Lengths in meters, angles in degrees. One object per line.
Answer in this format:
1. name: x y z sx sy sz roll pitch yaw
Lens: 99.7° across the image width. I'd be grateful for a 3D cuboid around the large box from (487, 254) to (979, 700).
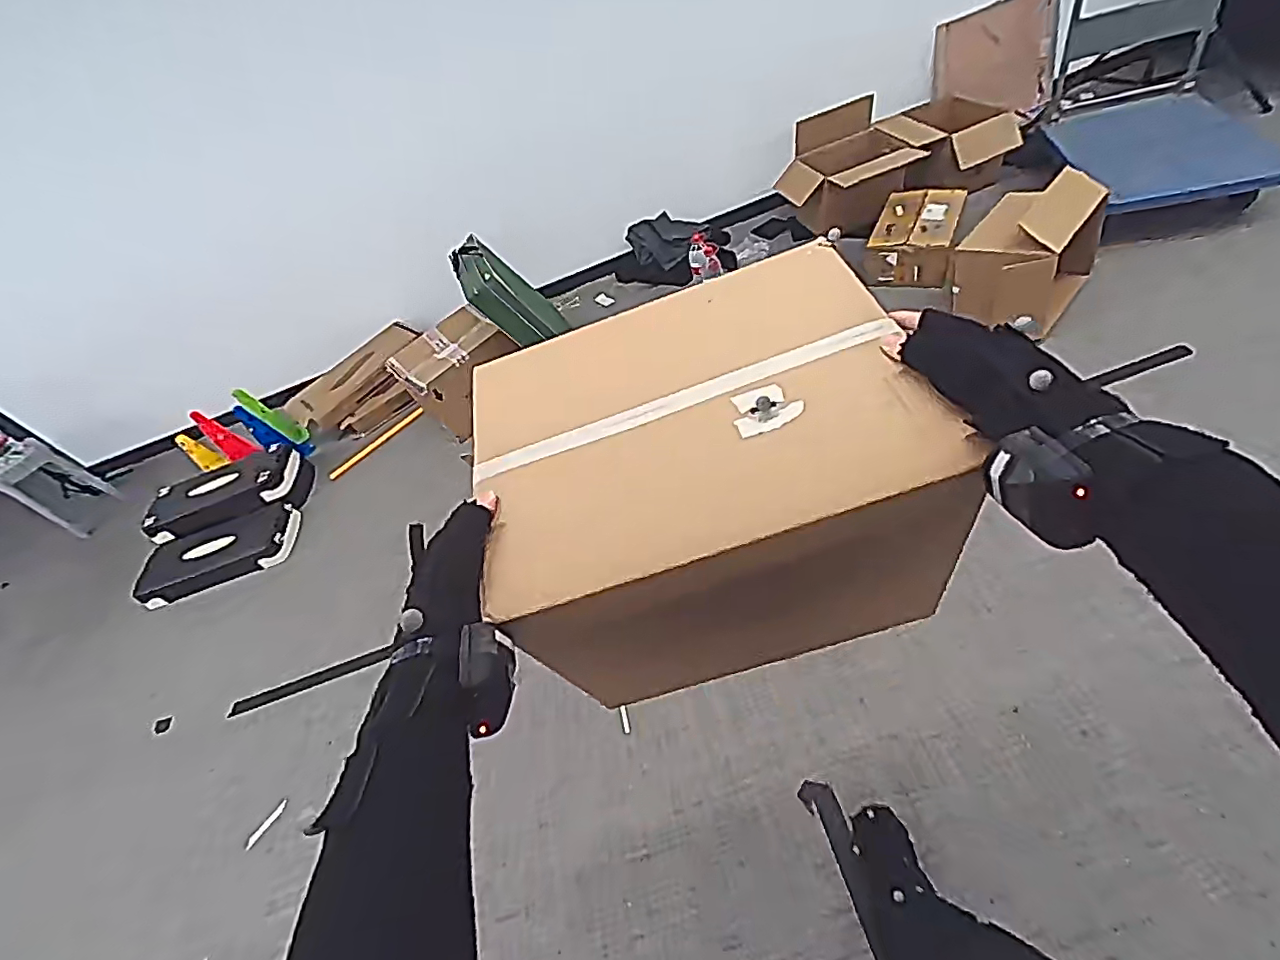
1. large box: 0.079 0.015 0.631 0.408 0.320 0.320 -19 53 4
